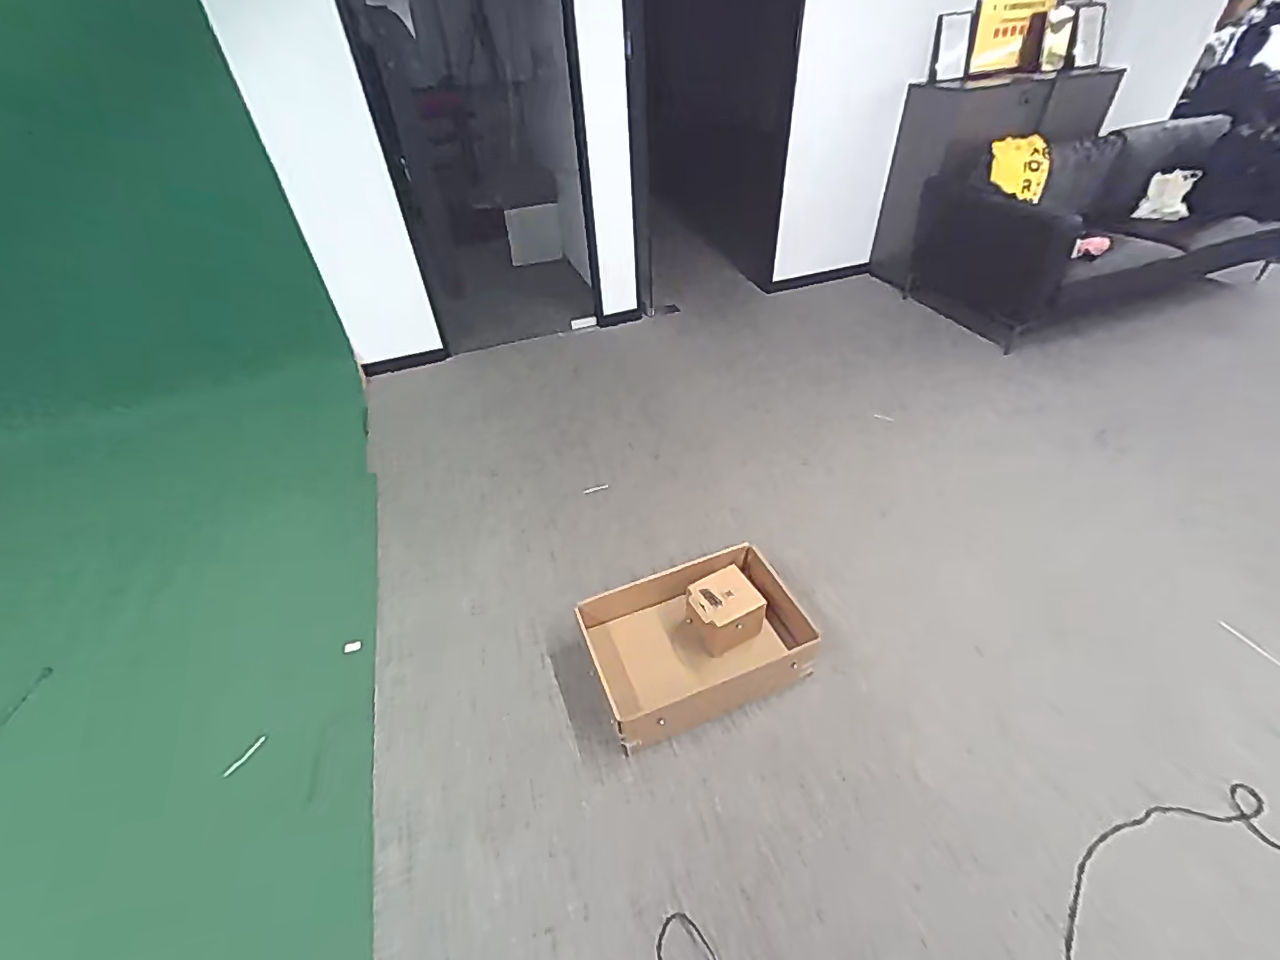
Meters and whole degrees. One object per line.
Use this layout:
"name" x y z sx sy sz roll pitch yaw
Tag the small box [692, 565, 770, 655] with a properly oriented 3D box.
"small box" 0.273 0.397 1.641 0.179 0.176 0.168 -22 45 -19
